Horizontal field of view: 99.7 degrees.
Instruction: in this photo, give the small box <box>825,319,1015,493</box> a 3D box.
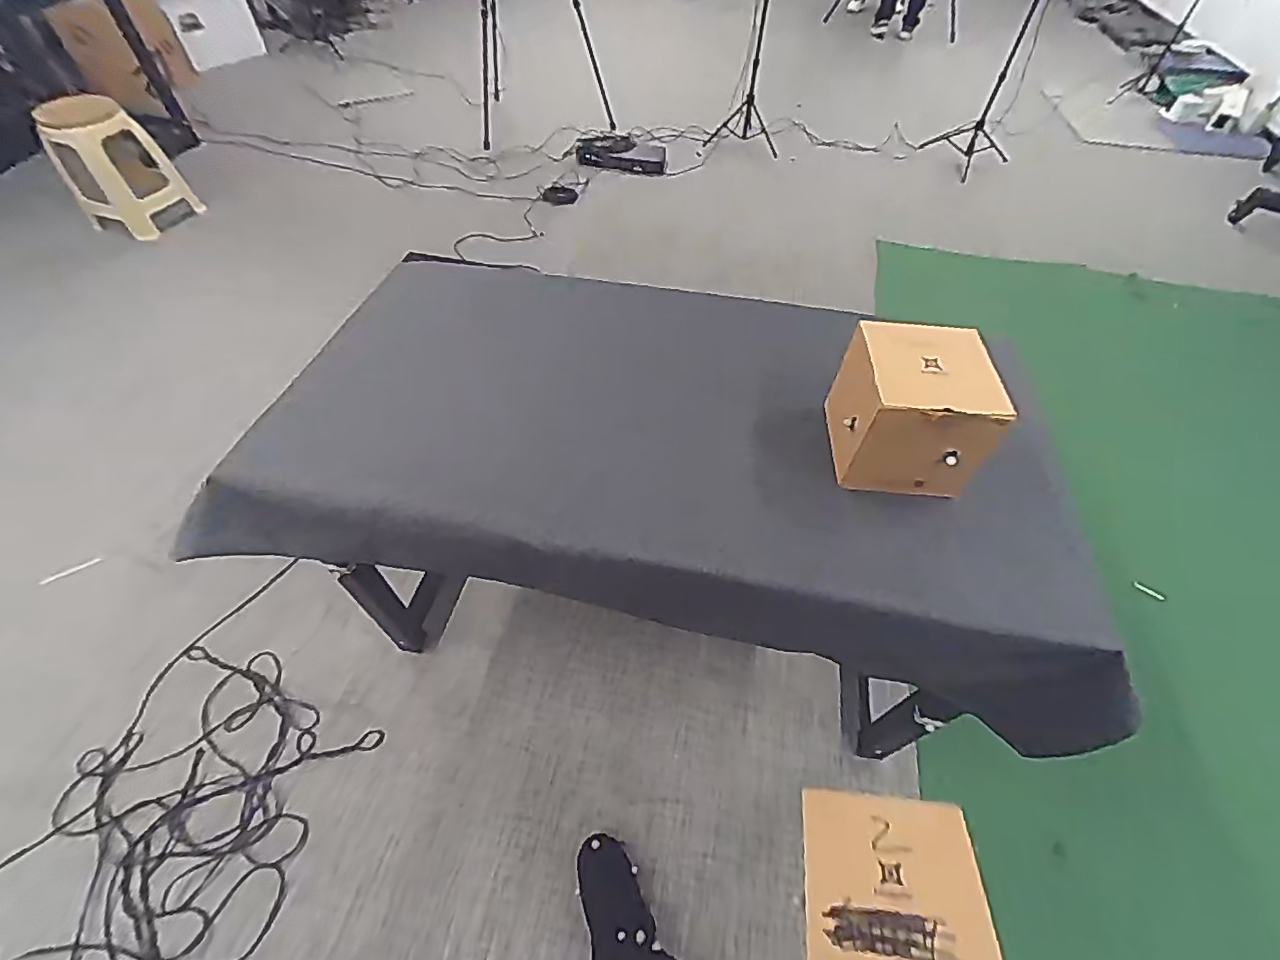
[{"bbox_3d":[0.375,-0.100,0.764,0.168,0.176,0.179,5,51,1],"label":"small box"}]
